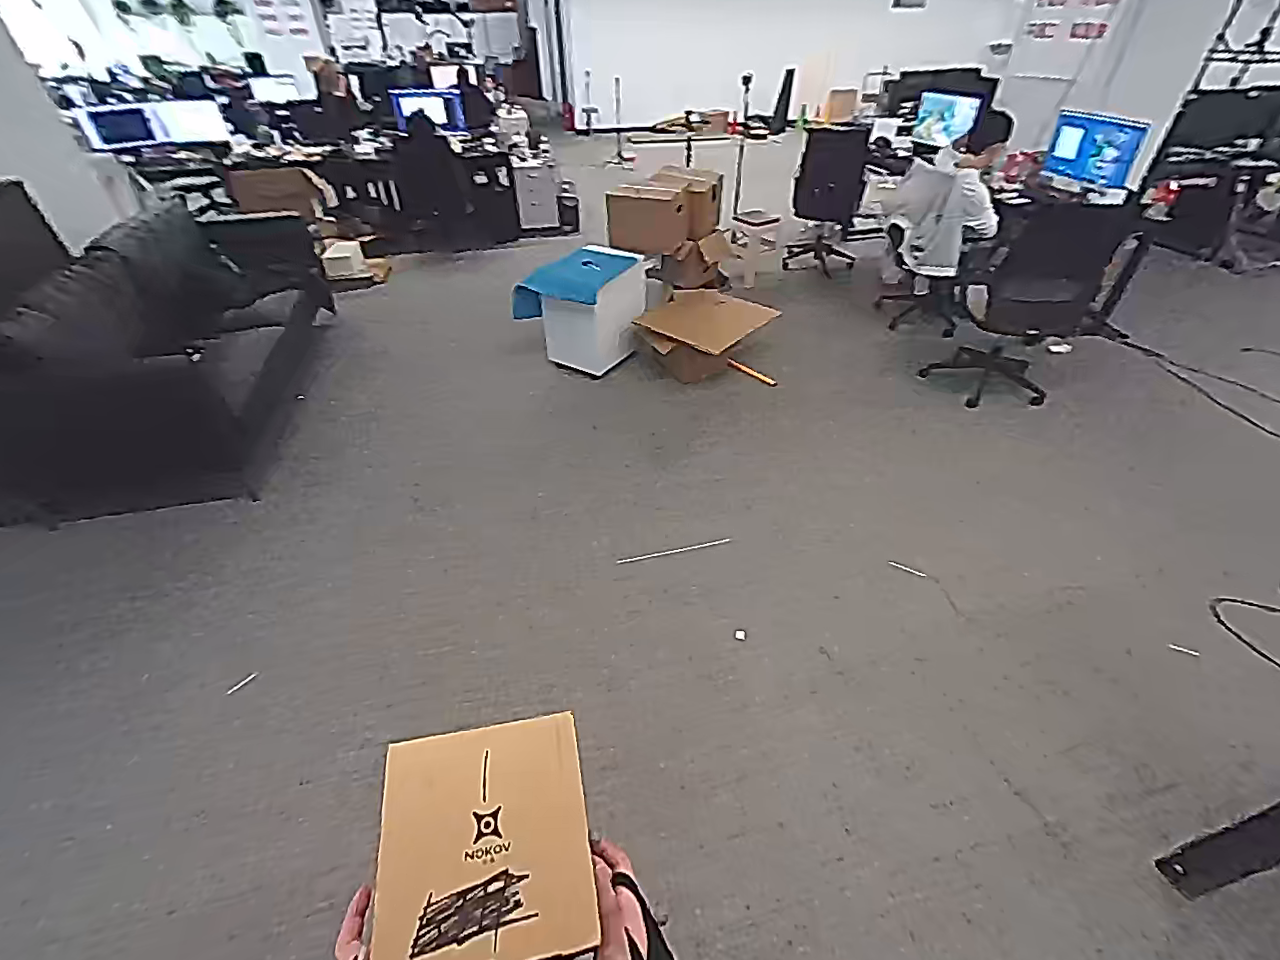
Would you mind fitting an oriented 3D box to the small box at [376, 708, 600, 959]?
[{"bbox_3d":[-0.128,0.339,0.503,0.168,0.176,0.179,-6,50,-11],"label":"small box"}]
